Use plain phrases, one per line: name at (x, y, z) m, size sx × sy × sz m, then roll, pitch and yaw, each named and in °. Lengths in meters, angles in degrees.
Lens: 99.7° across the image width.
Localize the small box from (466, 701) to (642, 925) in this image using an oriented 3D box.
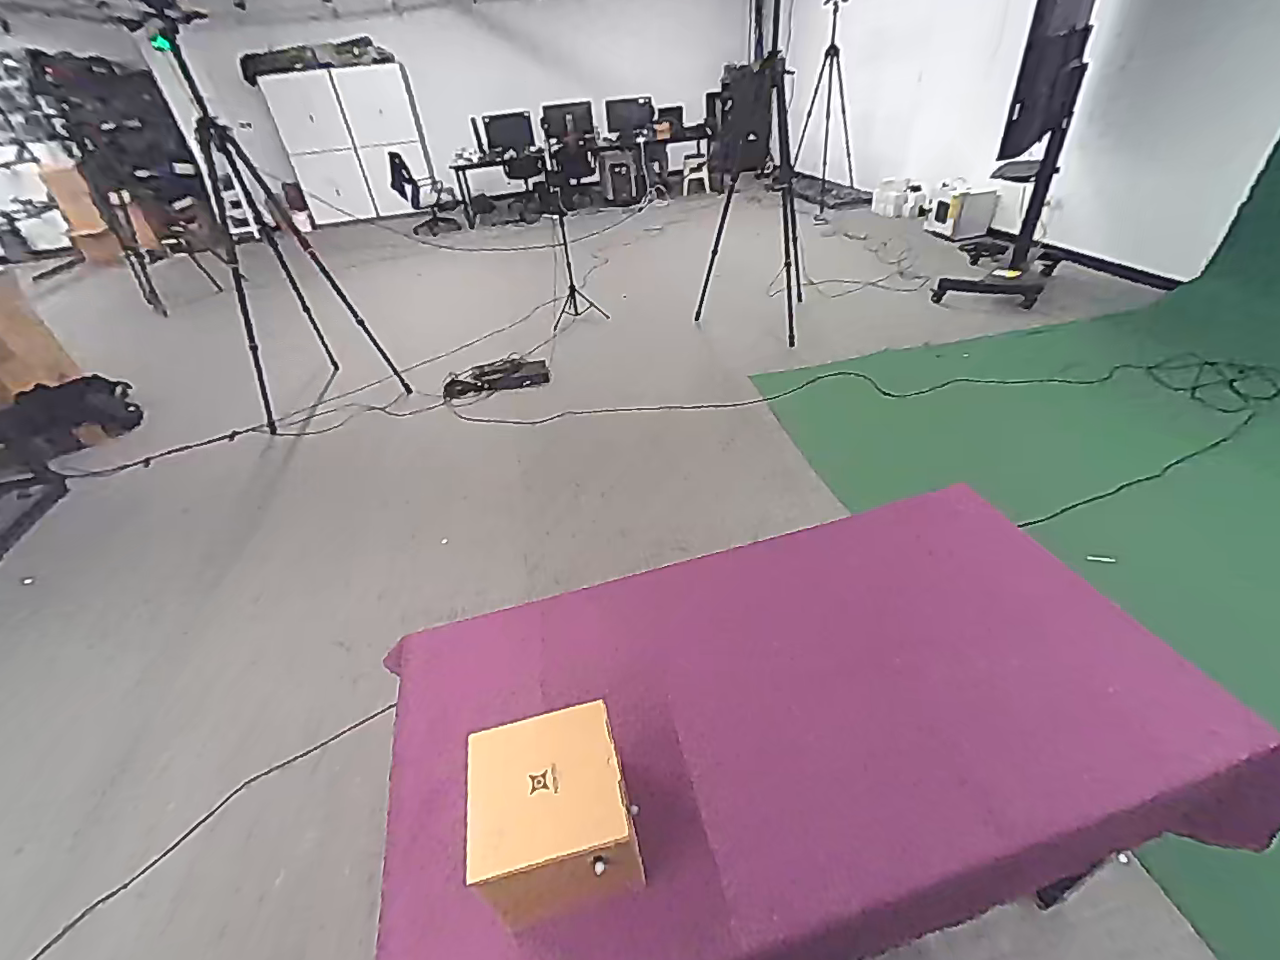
small box at (-0.105, 0.415, 0.677) m, size 0.179 × 0.176 × 0.168 m, roll -12°, pitch 37°, yaw -8°
